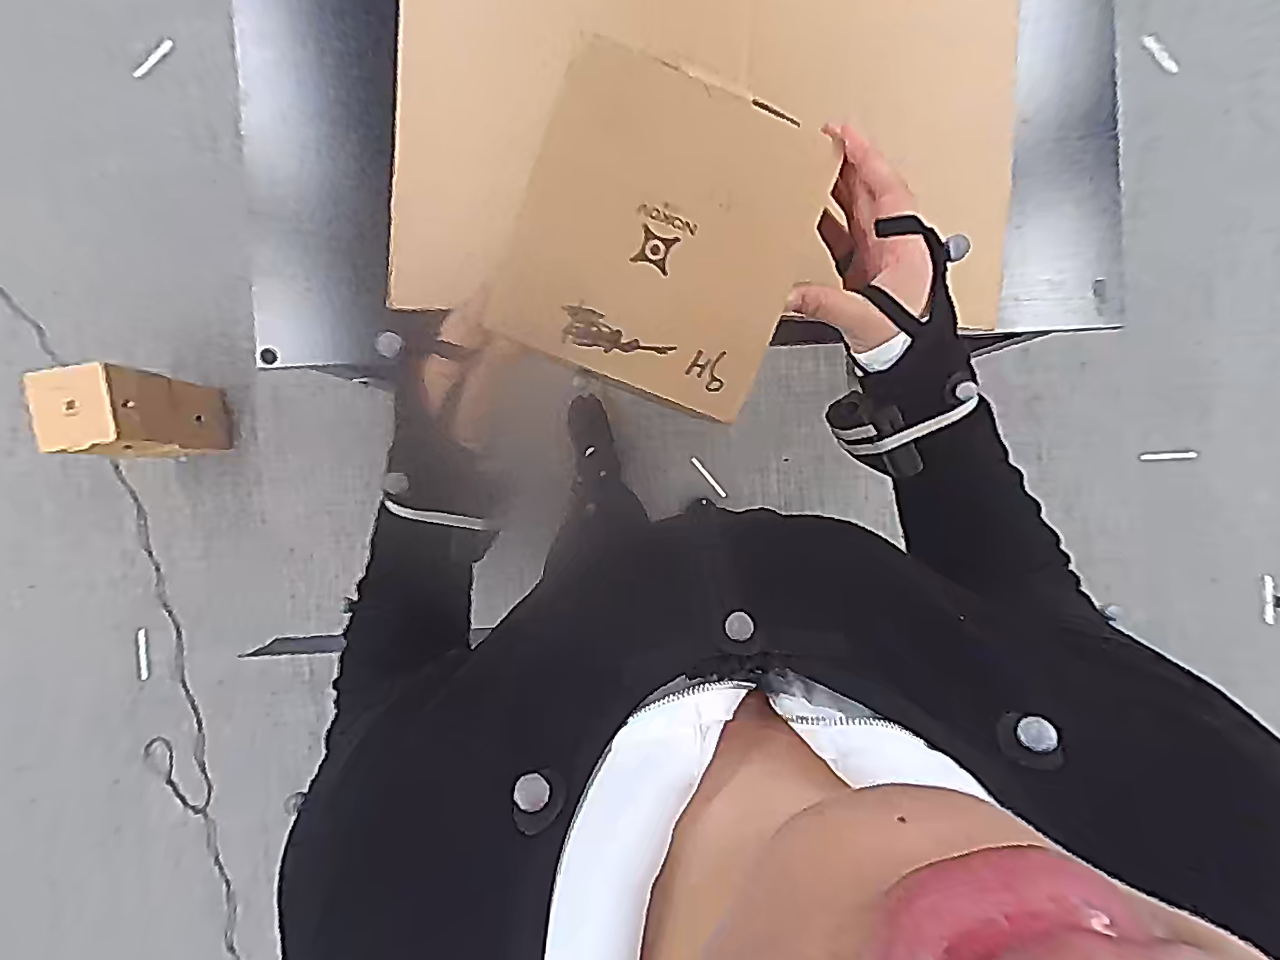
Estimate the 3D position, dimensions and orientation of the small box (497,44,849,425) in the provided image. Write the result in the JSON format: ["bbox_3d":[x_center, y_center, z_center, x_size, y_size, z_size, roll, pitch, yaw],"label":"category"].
[{"bbox_3d":[0.017,-0.151,0.401,0.168,0.176,0.179,21,95,-3],"label":"small box"}]

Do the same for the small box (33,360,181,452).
[{"bbox_3d":[-1.201,-0.160,1.233,0.168,0.176,0.179,-10,90,-1],"label":"small box"}]

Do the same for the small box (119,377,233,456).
[{"bbox_3d":[-1.200,-0.158,1.395,0.168,0.176,0.179,-7,92,0],"label":"small box"}]
